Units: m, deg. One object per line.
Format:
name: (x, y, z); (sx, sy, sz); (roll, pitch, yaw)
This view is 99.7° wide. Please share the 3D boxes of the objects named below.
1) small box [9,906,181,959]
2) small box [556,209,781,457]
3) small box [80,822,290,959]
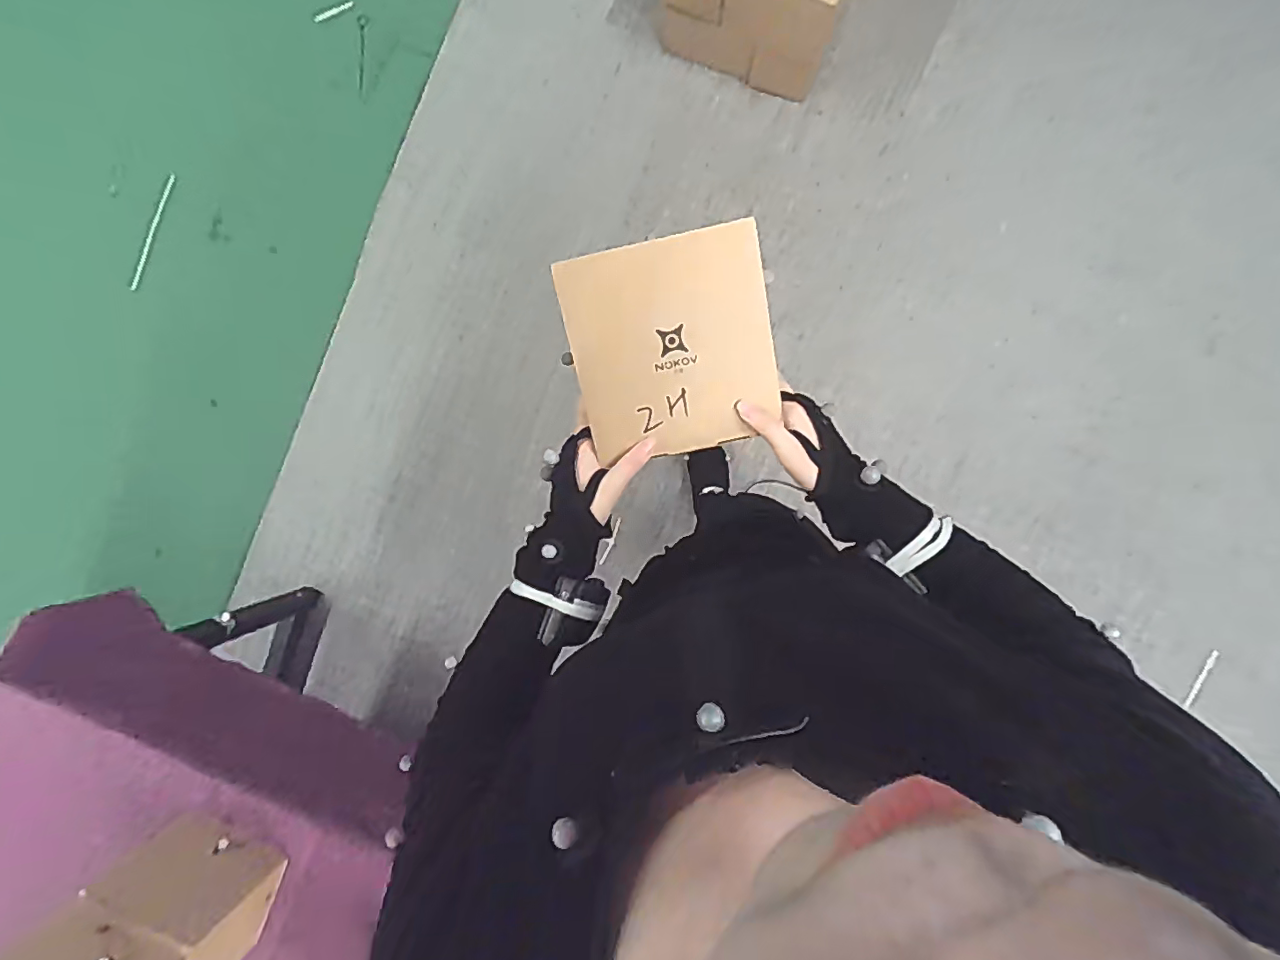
small box: (-0.681, 0.656, 0.617); (0.168, 0.176, 0.179); (23, 94, 4)
small box: (0.025, -0.138, 0.525); (0.168, 0.176, 0.179); (-12, 107, 3)
small box: (-0.662, 0.639, 0.778); (0.179, 0.176, 0.168); (23, 95, 5)
